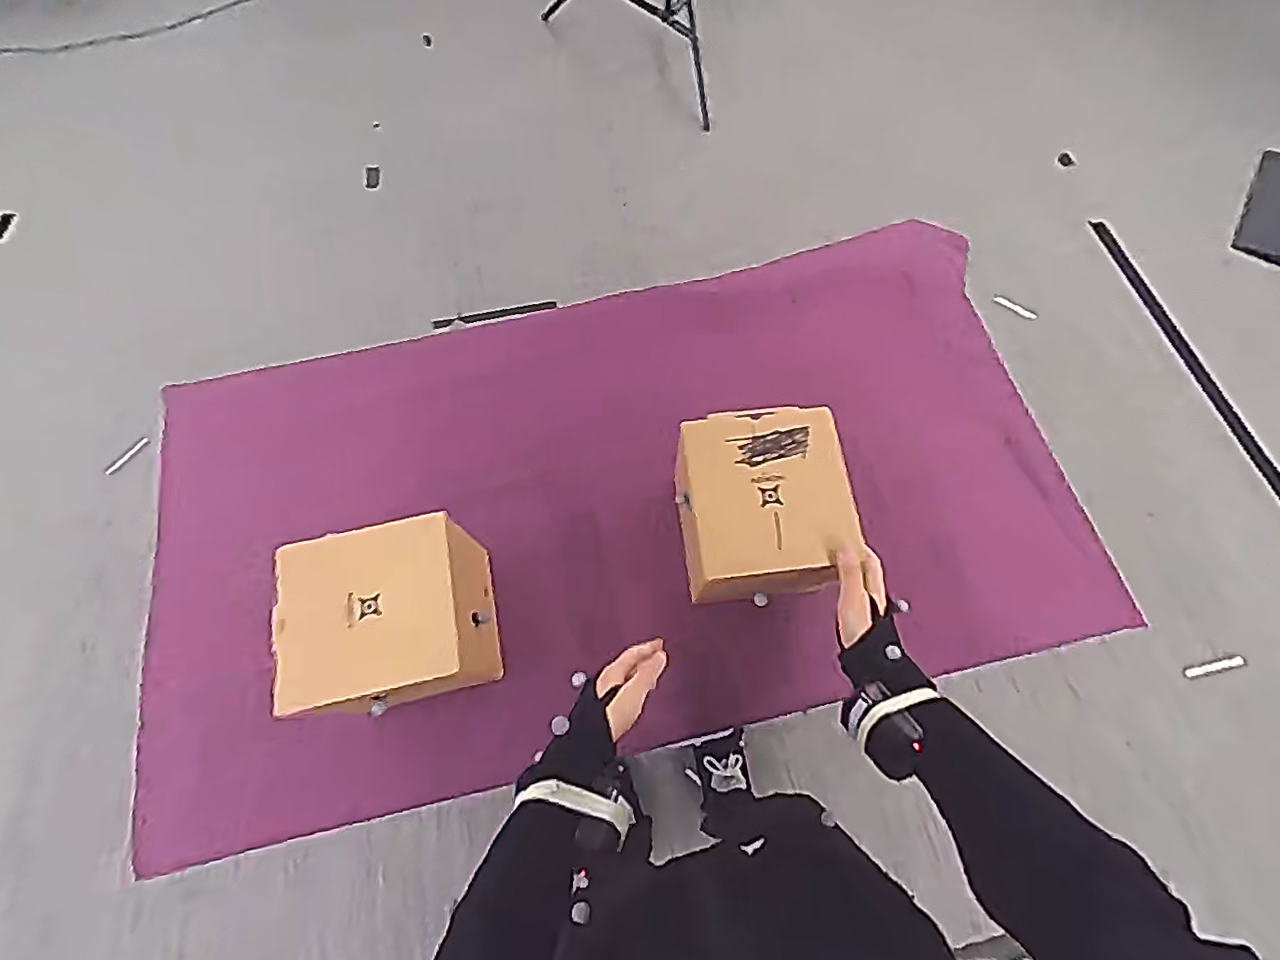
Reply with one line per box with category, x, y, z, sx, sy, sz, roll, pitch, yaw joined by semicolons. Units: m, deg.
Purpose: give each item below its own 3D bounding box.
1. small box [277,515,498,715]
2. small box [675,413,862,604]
small box;-0.268;0.154;0.609;0.179;0.176;0.168;-13;69;-3
small box;0.134;0.041;0.641;0.168;0.176;0.179;-6;70;-1
